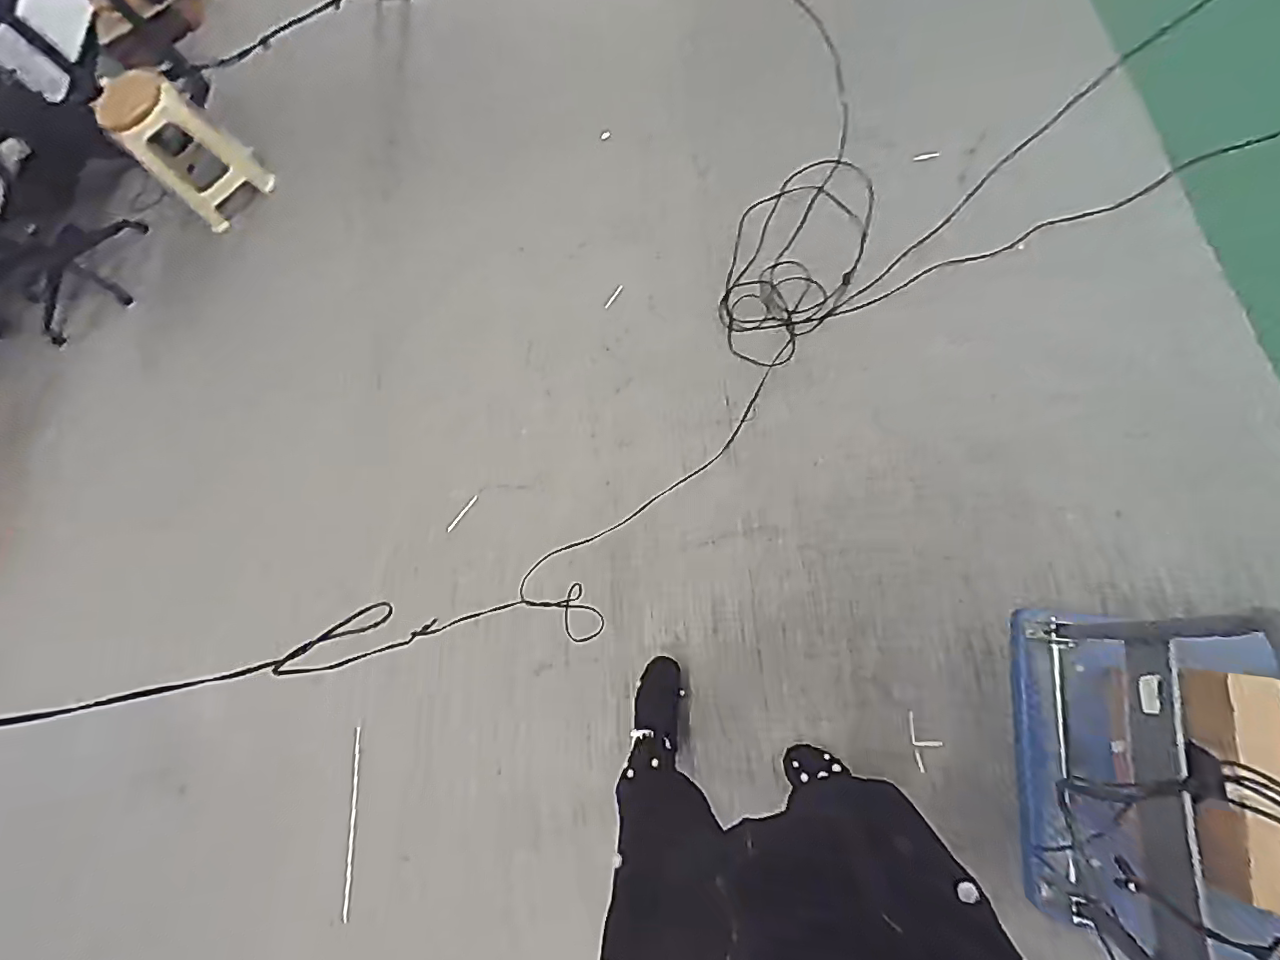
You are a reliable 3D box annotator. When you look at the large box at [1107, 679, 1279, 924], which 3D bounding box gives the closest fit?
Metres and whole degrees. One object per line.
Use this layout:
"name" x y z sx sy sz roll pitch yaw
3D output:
"large box" 1.076 0.509 0.861 0.408 0.320 0.320 6 74 14
